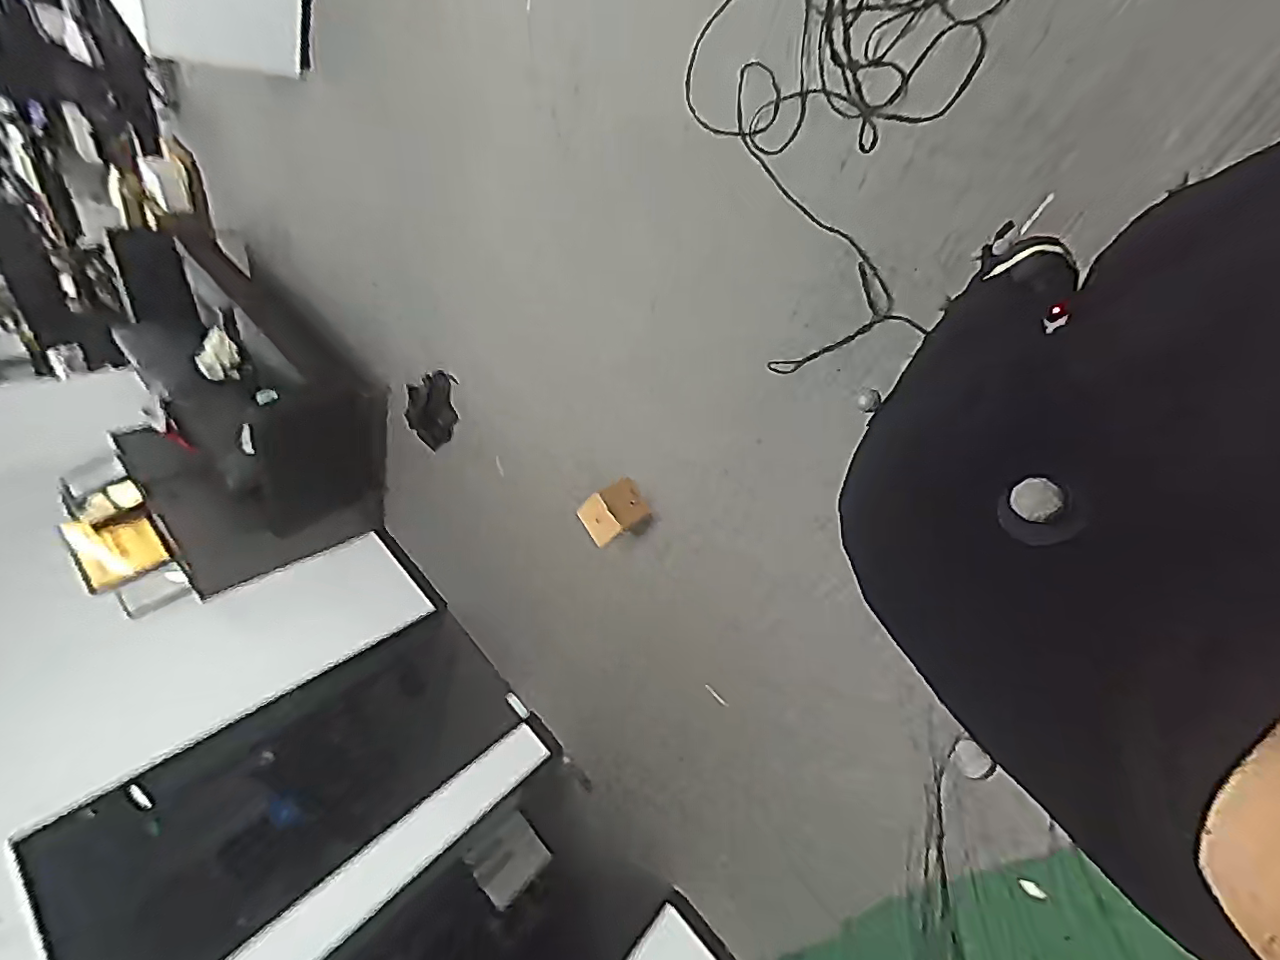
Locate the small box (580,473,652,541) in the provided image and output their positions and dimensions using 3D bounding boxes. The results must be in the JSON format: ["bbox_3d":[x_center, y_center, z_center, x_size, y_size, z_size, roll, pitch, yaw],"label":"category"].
[{"bbox_3d":[-0.086,0.099,2.008,0.168,0.176,0.179,56,137,8],"label":"small box"}]
